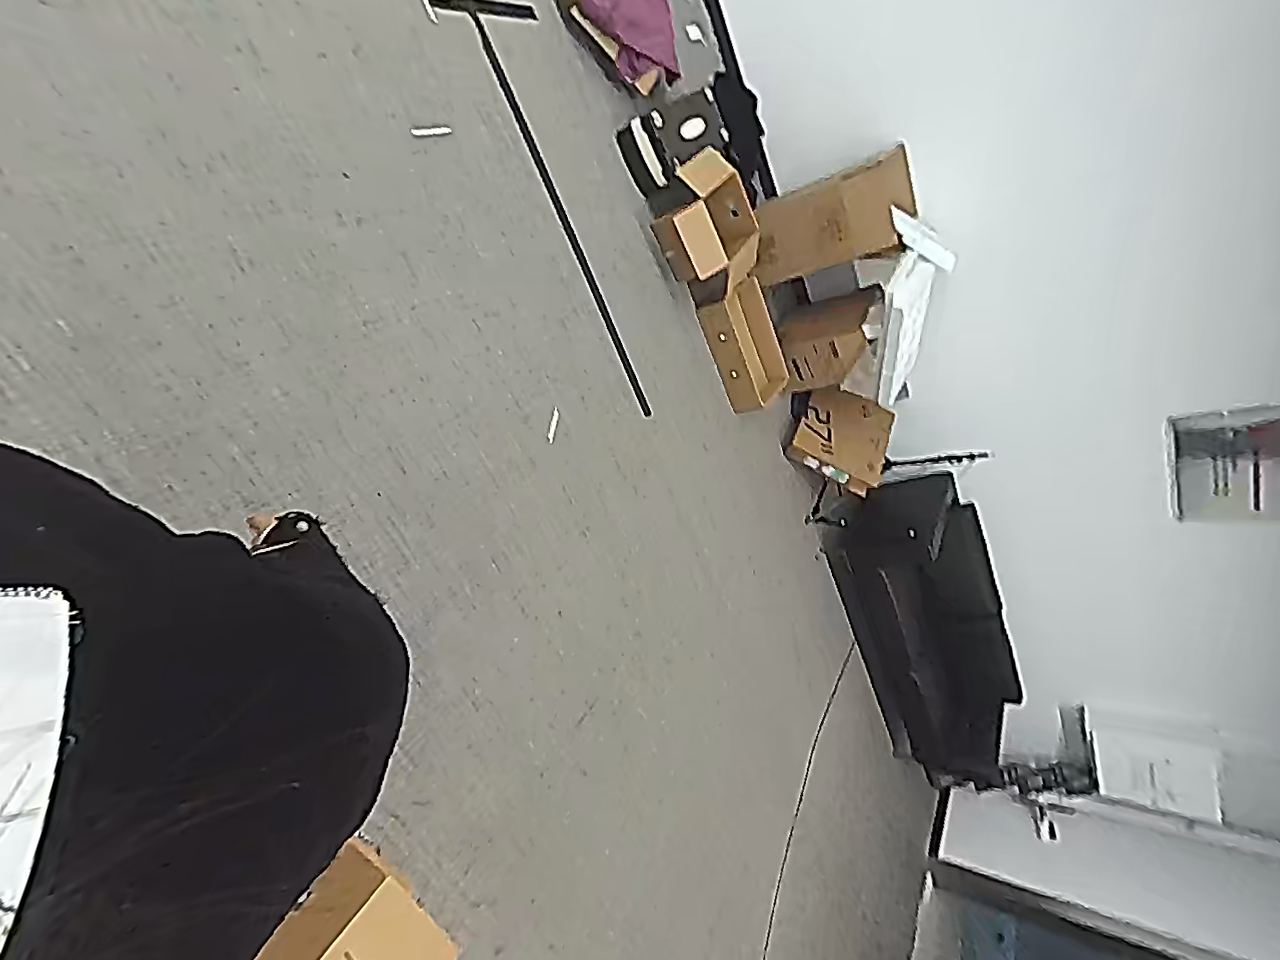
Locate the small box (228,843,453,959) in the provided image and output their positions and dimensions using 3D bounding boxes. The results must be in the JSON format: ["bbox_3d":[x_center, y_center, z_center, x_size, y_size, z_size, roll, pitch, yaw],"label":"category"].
[{"bbox_3d":[-0.390,0.624,0.711,0.168,0.176,0.179,-44,115,-43],"label":"small box"}]
